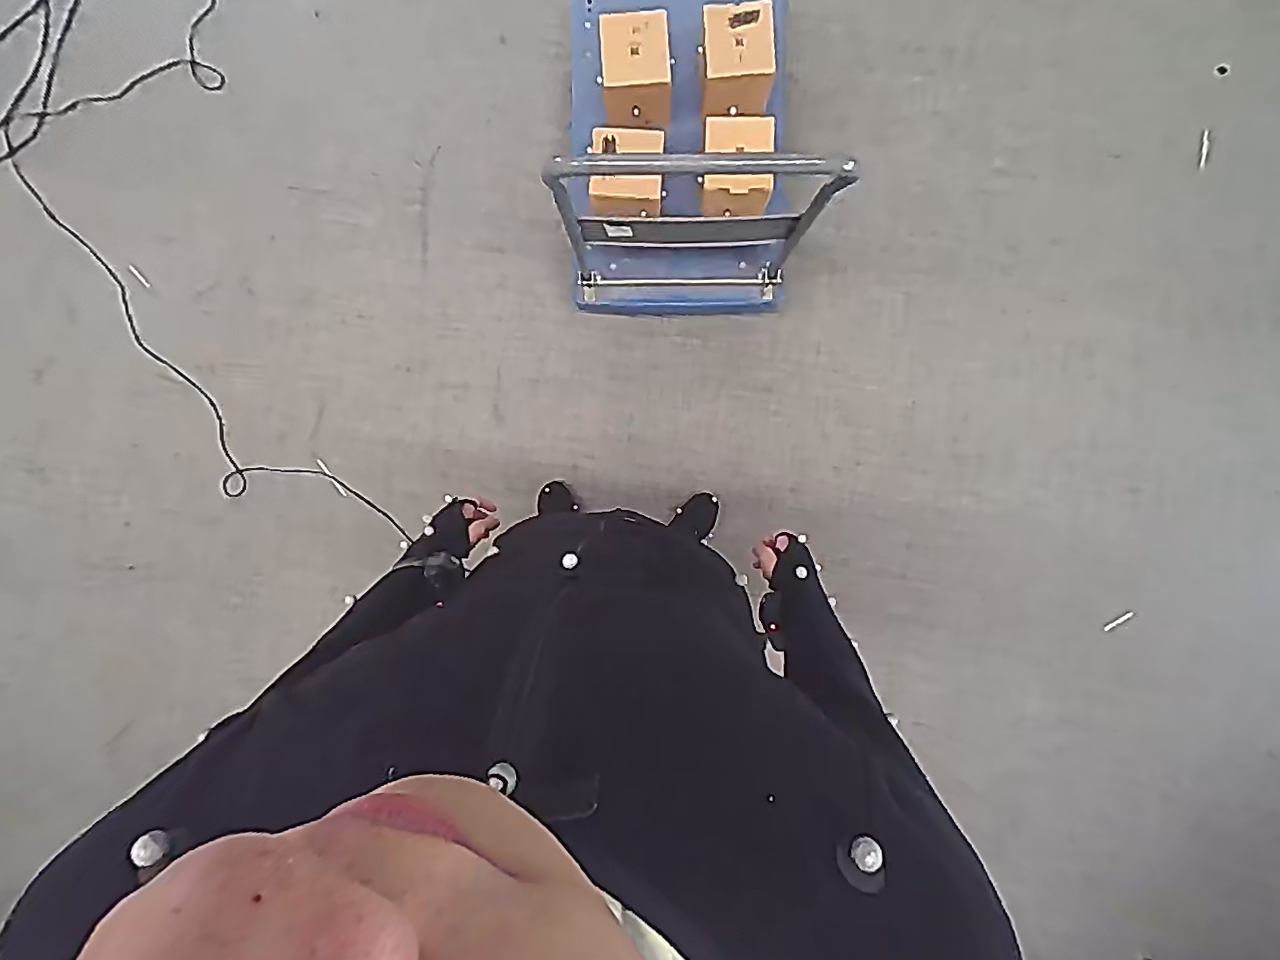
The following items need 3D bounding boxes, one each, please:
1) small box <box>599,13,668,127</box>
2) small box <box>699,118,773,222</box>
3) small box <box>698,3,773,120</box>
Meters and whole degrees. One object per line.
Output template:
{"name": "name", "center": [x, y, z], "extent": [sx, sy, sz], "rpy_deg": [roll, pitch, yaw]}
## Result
{"name": "small box", "center": [-0.013, -1.042, 1.393], "extent": [0.168, 0.176, 0.179], "rpy_deg": [-4, 90, 1]}
{"name": "small box", "center": [0.239, -0.790, 1.388], "extent": [0.168, 0.176, 0.179], "rpy_deg": [1, 91, 2]}
{"name": "small box", "center": [0.238, -1.061, 1.384], "extent": [0.168, 0.176, 0.179], "rpy_deg": [-3, 91, 3]}
